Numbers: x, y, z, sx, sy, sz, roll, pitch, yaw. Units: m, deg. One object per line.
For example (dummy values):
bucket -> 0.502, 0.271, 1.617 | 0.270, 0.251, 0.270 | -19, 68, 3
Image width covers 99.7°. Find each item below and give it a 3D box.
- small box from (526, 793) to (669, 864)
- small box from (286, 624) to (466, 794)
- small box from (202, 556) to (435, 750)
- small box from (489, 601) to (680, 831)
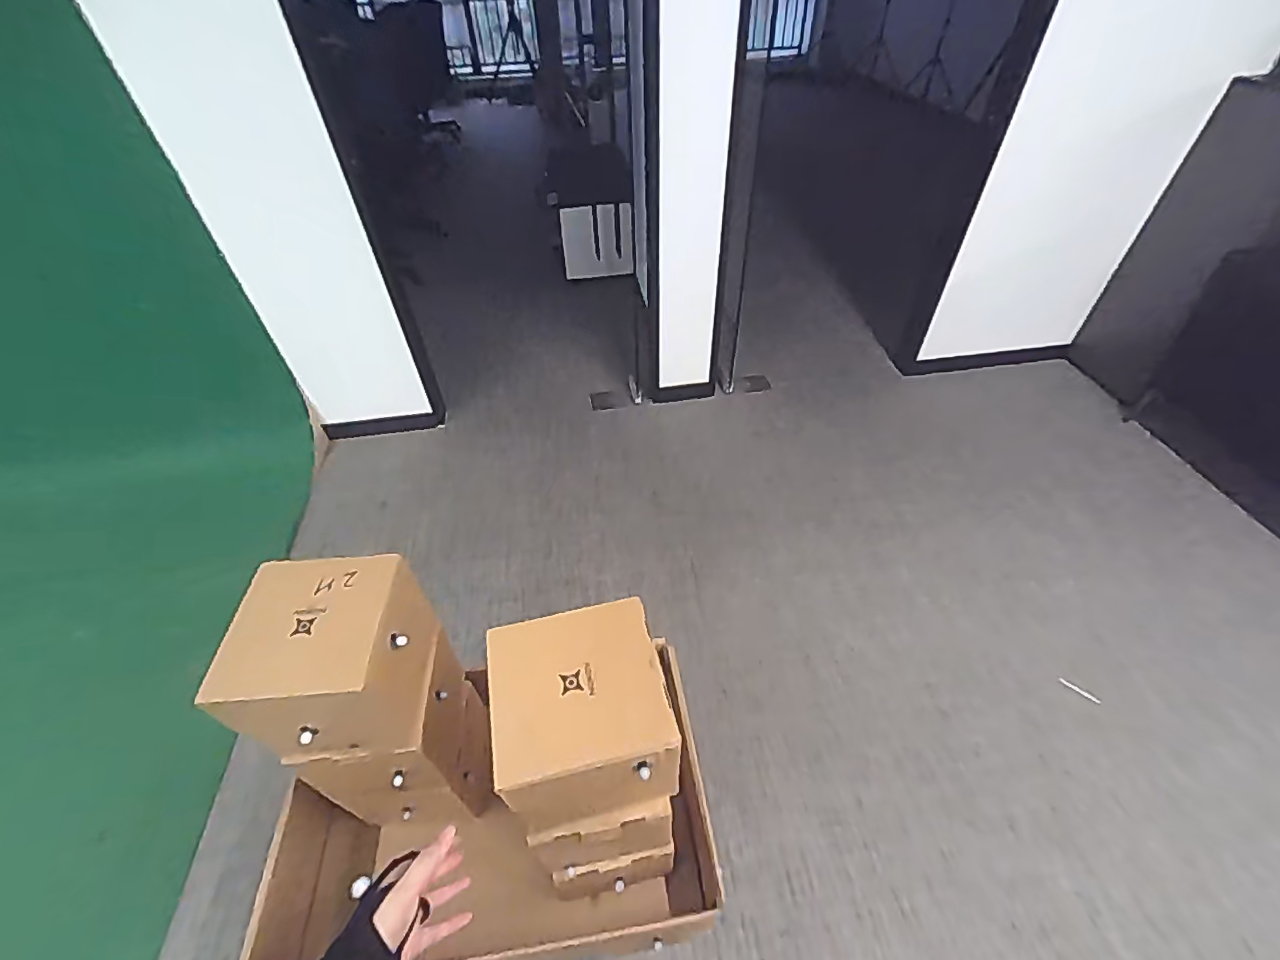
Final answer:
small box -> -0.057, 0.384, 0.715 | 0.168, 0.176, 0.179 | -8, 46, -7
small box -> -0.358, 0.332, 0.775 | 0.168, 0.176, 0.179 | -4, 45, -4
small box -> -0.365, 0.215, 0.660 | 0.168, 0.176, 0.179 | -2, 46, -3
small box -> -0.061, 0.265, 0.605 | 0.179, 0.176, 0.168 | -10, 46, -10
